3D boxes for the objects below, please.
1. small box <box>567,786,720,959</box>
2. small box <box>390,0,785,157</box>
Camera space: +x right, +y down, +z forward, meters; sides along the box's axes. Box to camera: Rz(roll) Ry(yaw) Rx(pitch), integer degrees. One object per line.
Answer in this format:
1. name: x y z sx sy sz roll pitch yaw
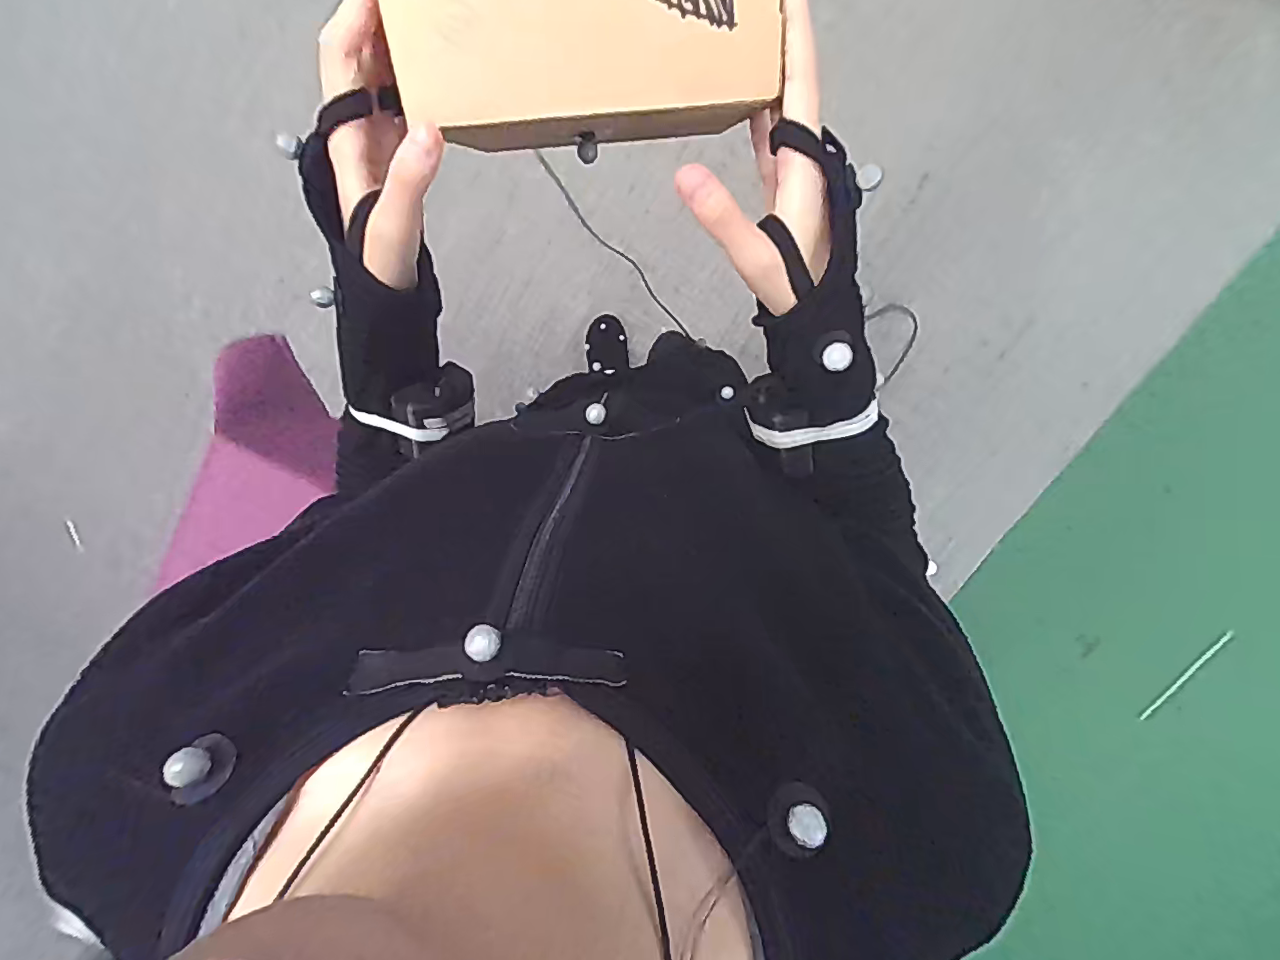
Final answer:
1. small box: 0.005 0.639 0.874 0.179 0.176 0.168 28 104 -6
2. small box: -0.026 -0.276 0.292 0.179 0.176 0.168 -3 118 1
